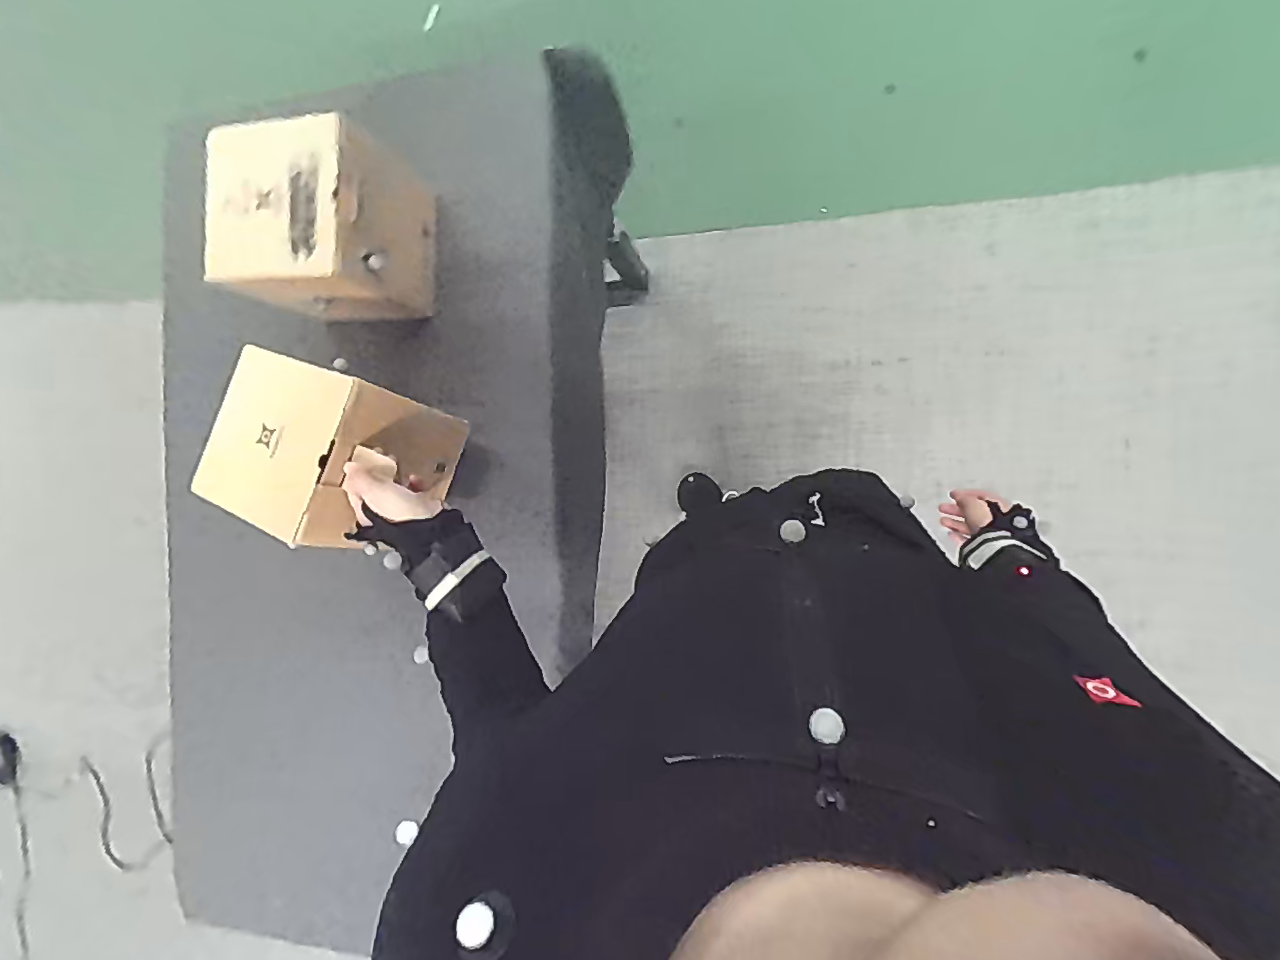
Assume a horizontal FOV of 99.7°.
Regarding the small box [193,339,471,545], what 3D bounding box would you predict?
[{"bbox_3d":[-0.327,-0.032,0.597,0.179,0.176,0.168,19,87,22],"label":"small box"}]
